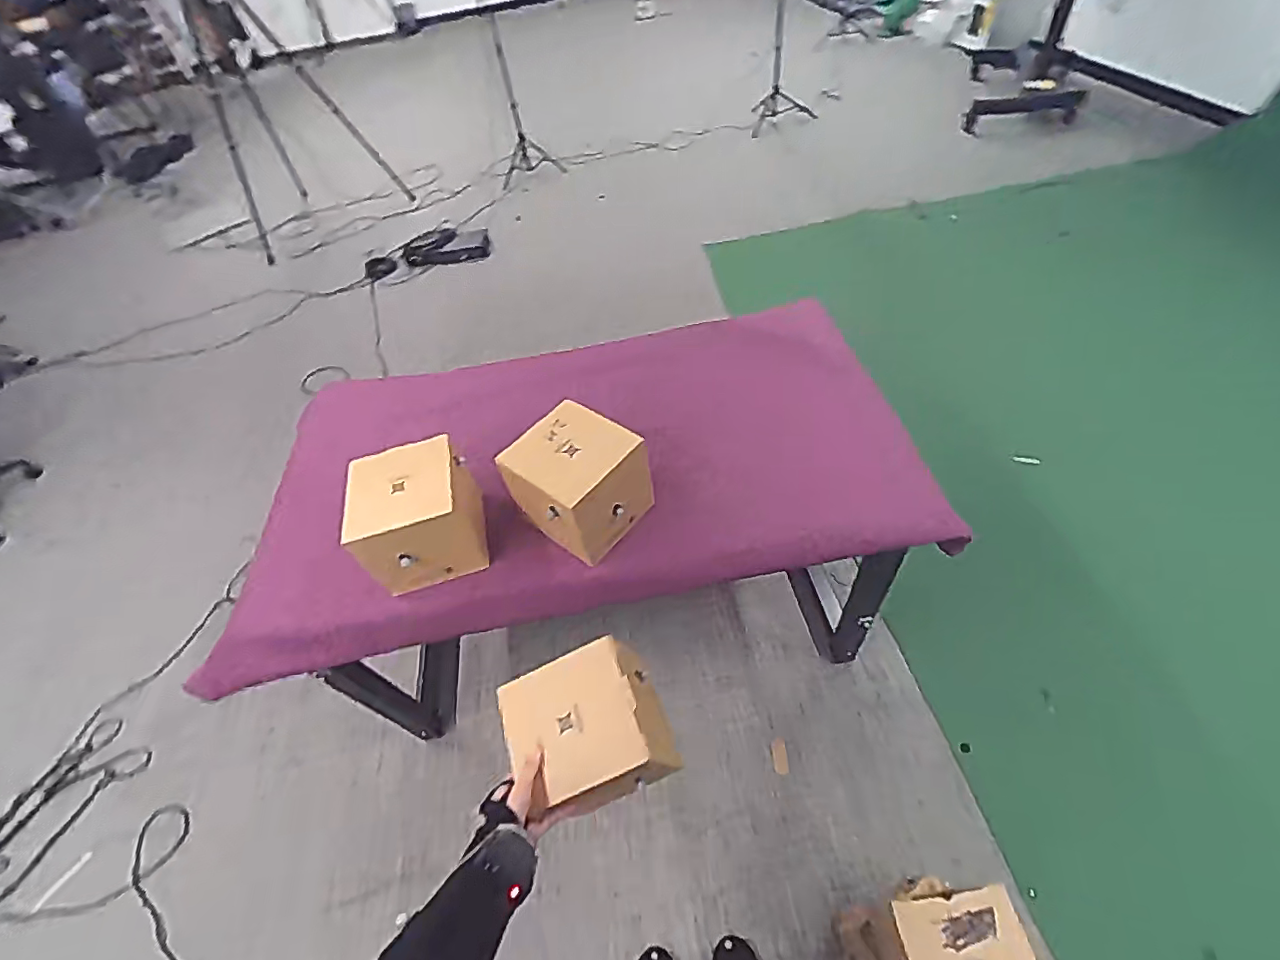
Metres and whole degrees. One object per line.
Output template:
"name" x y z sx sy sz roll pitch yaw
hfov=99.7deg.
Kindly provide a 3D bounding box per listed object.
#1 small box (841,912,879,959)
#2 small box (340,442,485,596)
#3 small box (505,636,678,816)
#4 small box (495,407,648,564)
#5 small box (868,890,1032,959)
"small box" 0.487 0.921 1.016 0.179 0.176 0.168 -4 51 6
"small box" -0.367 0.071 0.897 0.168 0.176 0.179 -17 49 -6
"small box" -0.058 0.343 0.749 0.179 0.176 0.168 -26 54 5
"small box" -0.104 0.015 0.902 0.179 0.176 0.168 30 59 29
"small box" 0.448 0.708 0.768 0.168 0.176 0.179 -10 51 0
